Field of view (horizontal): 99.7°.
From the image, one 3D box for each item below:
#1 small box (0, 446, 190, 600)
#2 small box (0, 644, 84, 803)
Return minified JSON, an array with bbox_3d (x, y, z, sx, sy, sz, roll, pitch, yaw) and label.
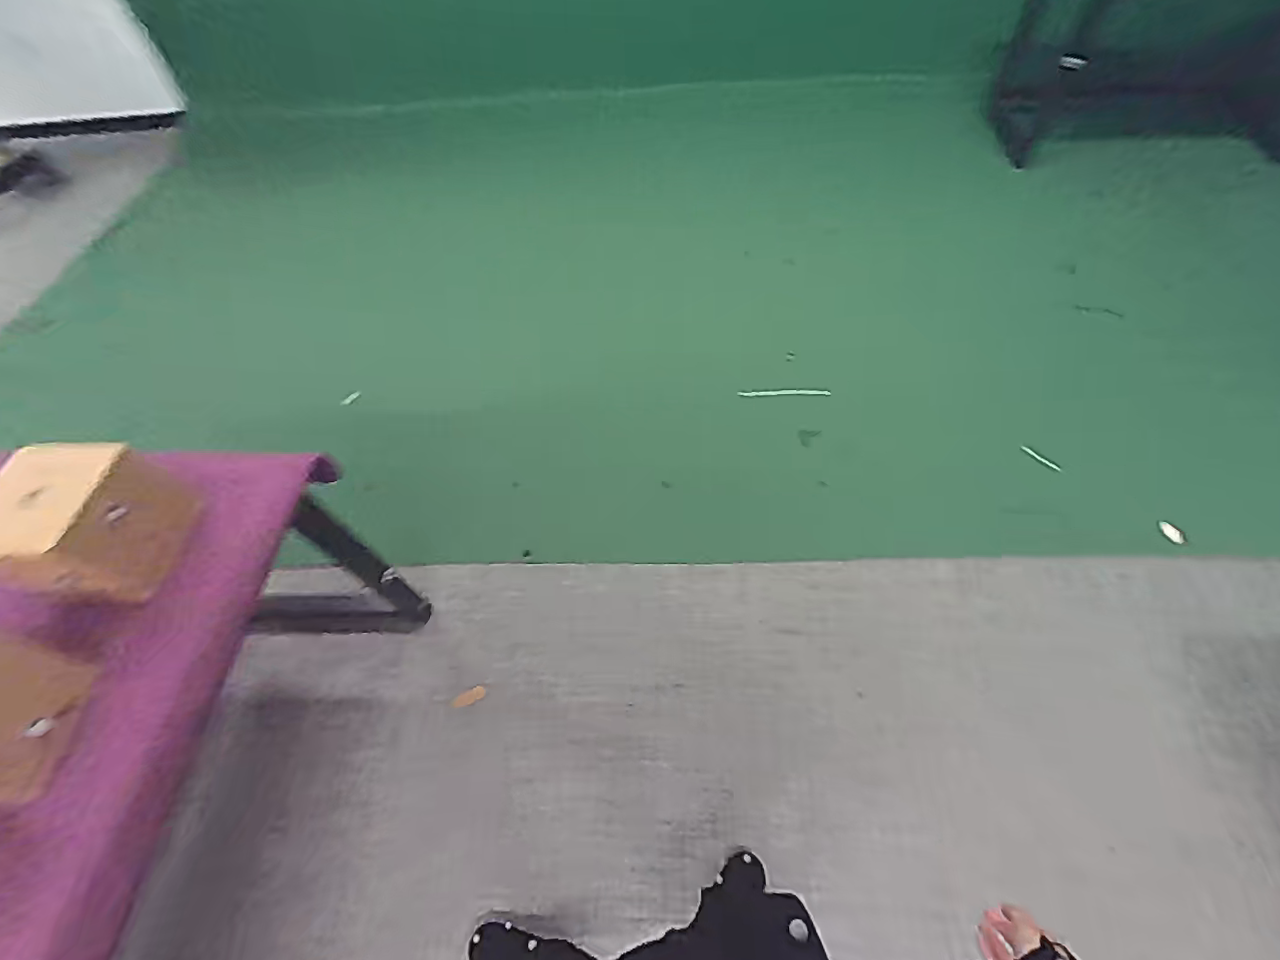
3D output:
[{"bbox_3d":[-0.828,0.068,0.796,0.168,0.176,0.179,1,56,5],"label":"small box"},{"bbox_3d":[-0.859,0.294,0.647,0.179,0.176,0.168,-3,56,1],"label":"small box"}]
